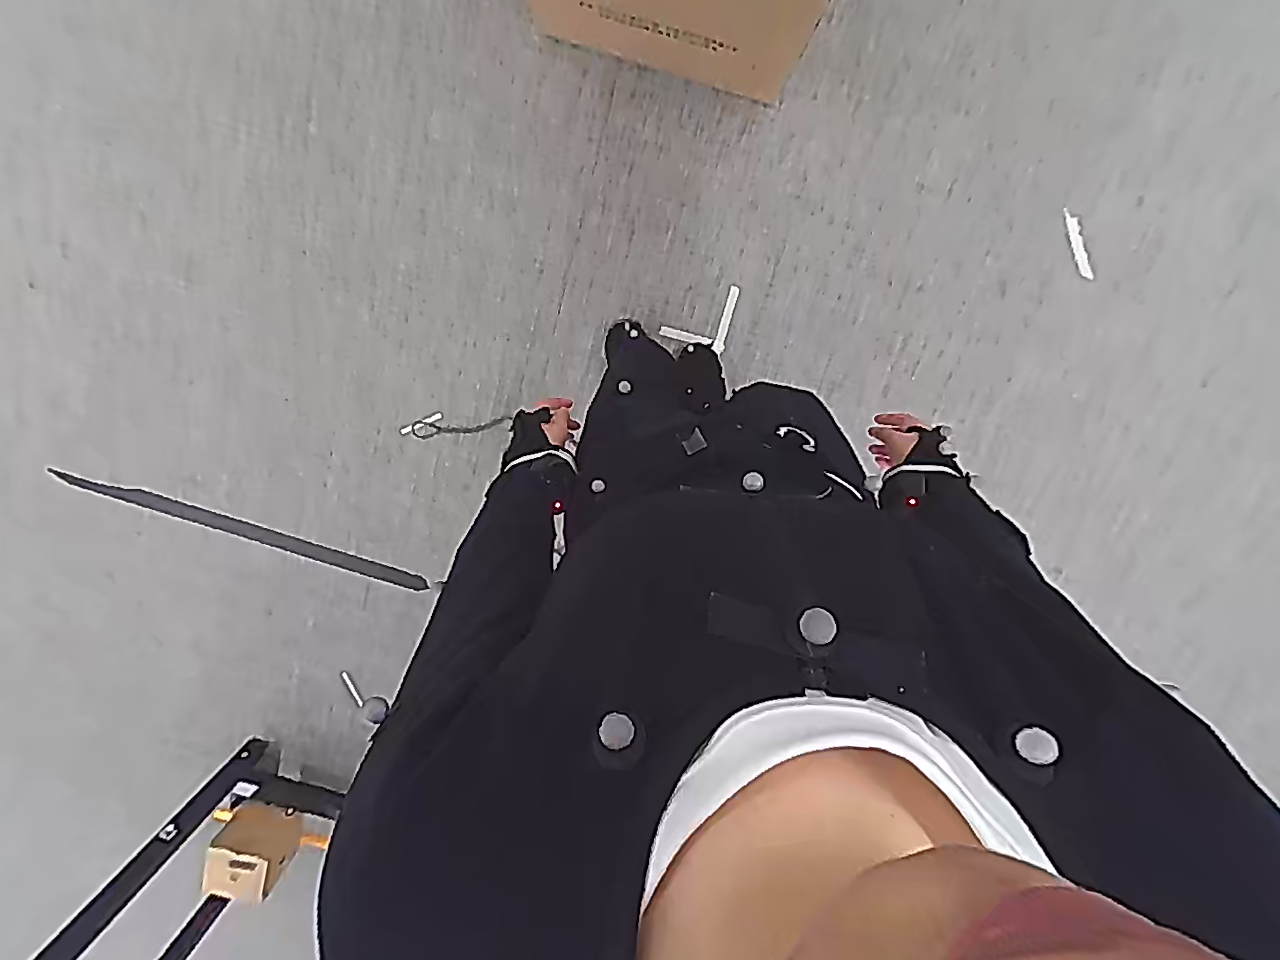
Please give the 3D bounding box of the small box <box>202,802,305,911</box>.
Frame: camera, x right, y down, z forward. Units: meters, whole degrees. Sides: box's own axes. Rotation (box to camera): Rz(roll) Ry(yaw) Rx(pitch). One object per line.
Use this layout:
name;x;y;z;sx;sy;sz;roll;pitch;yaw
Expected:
small box;-1.079;1.052;1.522;0.168;0.176;0.179;17;106;-3
